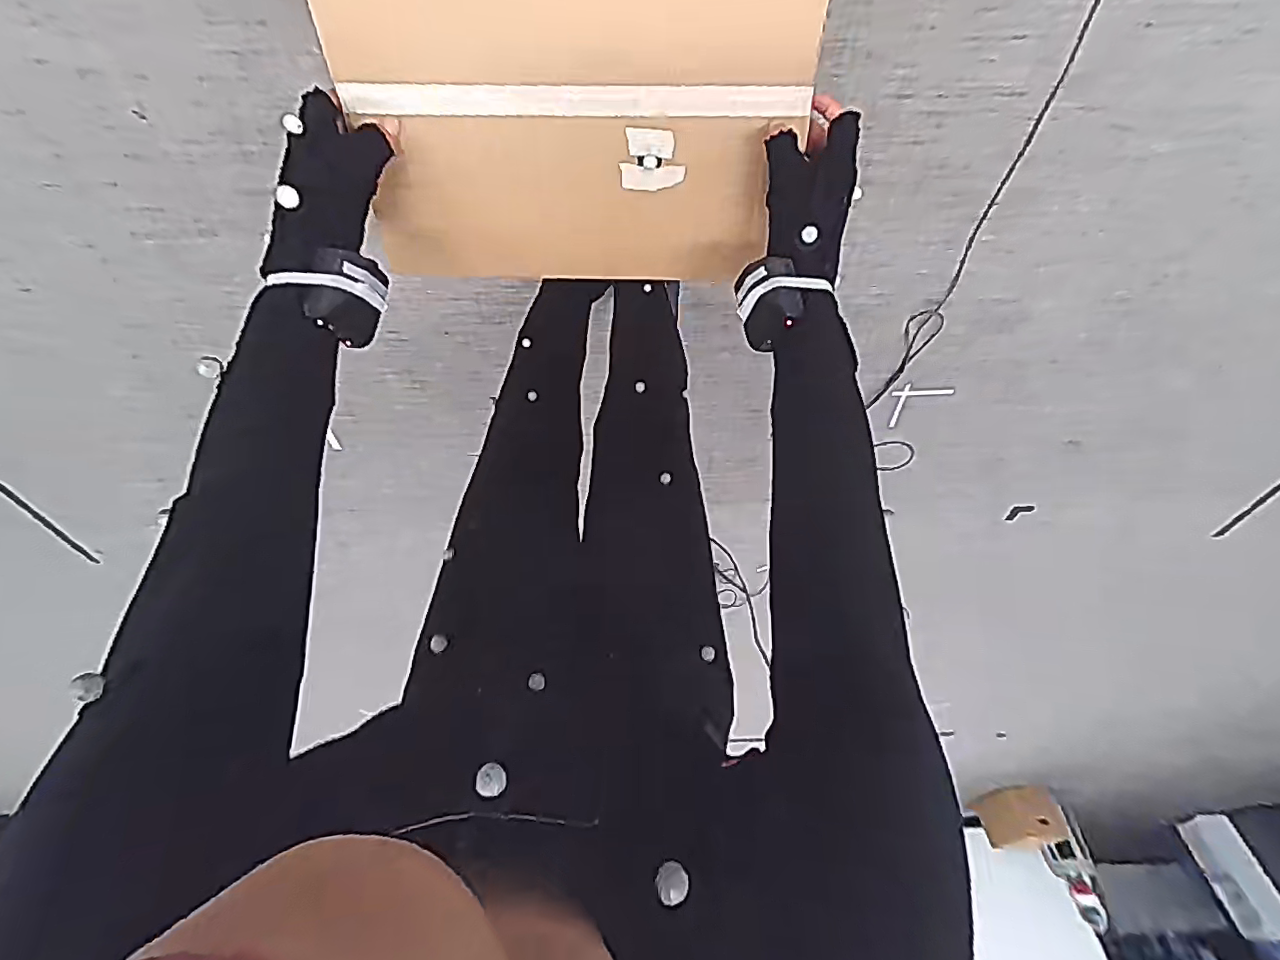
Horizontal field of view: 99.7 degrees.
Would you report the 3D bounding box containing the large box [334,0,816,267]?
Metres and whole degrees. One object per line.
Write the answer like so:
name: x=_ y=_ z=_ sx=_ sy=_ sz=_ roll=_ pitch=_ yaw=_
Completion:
large box: x=-0.055 y=-0.447 z=0.593 sx=0.408 sy=0.320 sz=0.320 roll=0 pitch=132 yaw=0
